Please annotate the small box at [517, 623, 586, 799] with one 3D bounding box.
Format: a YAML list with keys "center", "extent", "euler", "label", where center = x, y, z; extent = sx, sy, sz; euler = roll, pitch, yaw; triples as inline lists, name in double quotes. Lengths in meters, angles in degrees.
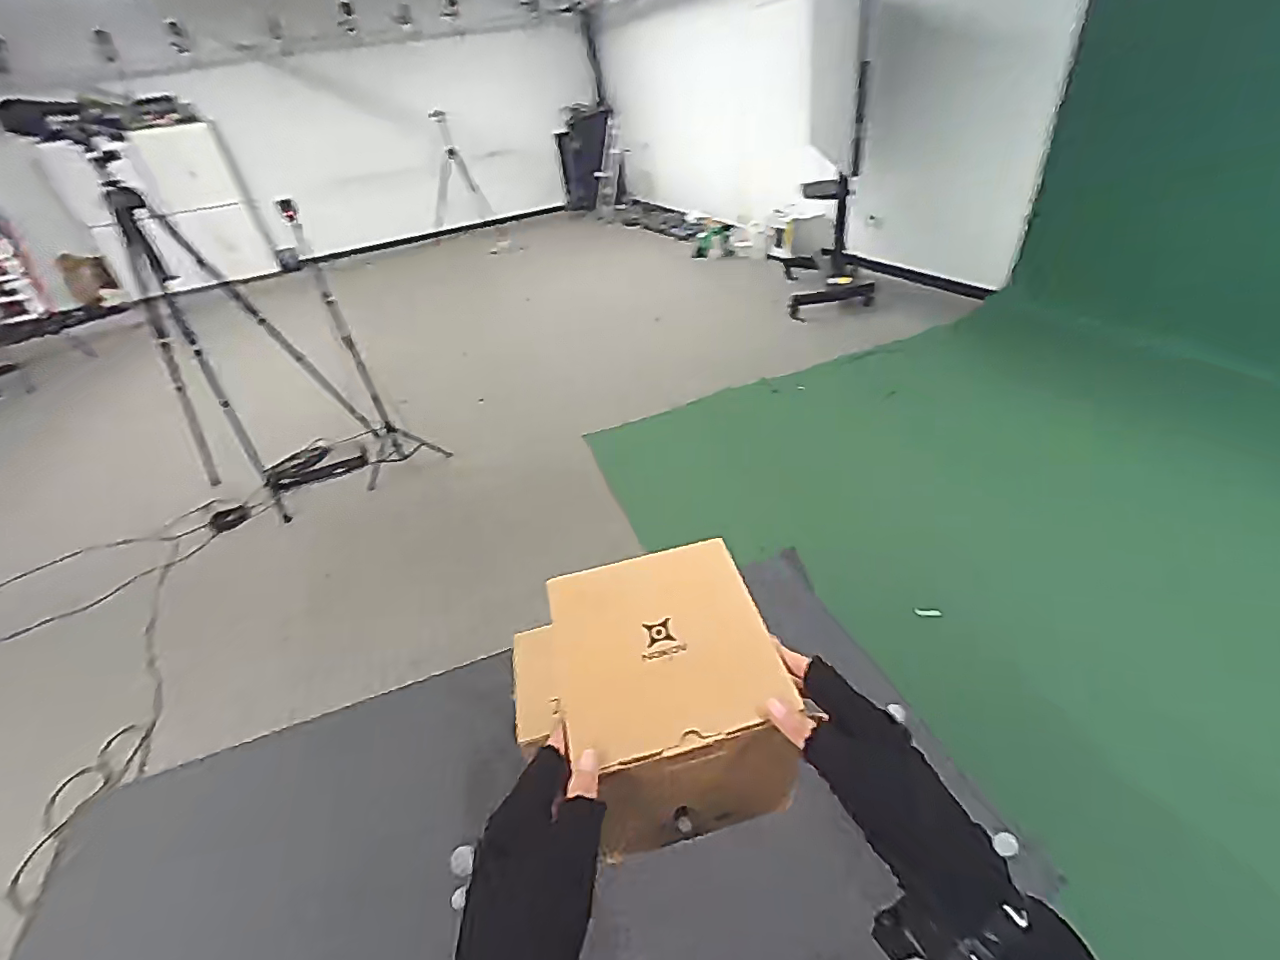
- center: [-0.076, 0.321, 0.787]
  extent: [0.168, 0.176, 0.179]
  euler: [-14, 36, -6]
  label: "small box"

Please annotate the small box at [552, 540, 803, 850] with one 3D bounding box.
- center: [0.023, 0.186, 0.479]
  extent: [0.168, 0.176, 0.179]
  euler: [-13, 41, -6]
  label: "small box"
